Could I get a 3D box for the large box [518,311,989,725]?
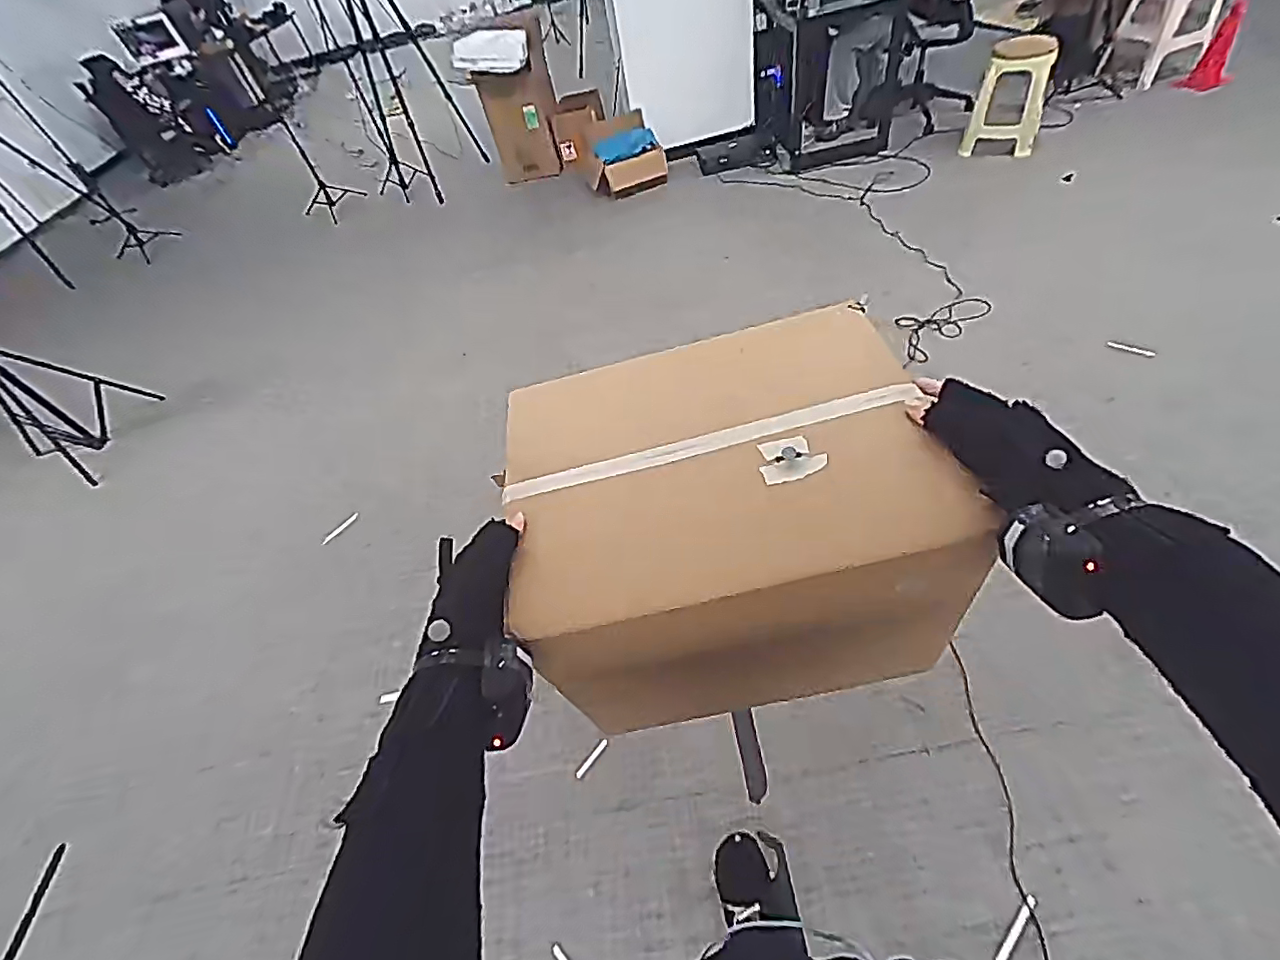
[{"bbox_3d":[0.097,0.059,0.650,0.408,0.320,0.320,-14,51,4],"label":"large box"}]
